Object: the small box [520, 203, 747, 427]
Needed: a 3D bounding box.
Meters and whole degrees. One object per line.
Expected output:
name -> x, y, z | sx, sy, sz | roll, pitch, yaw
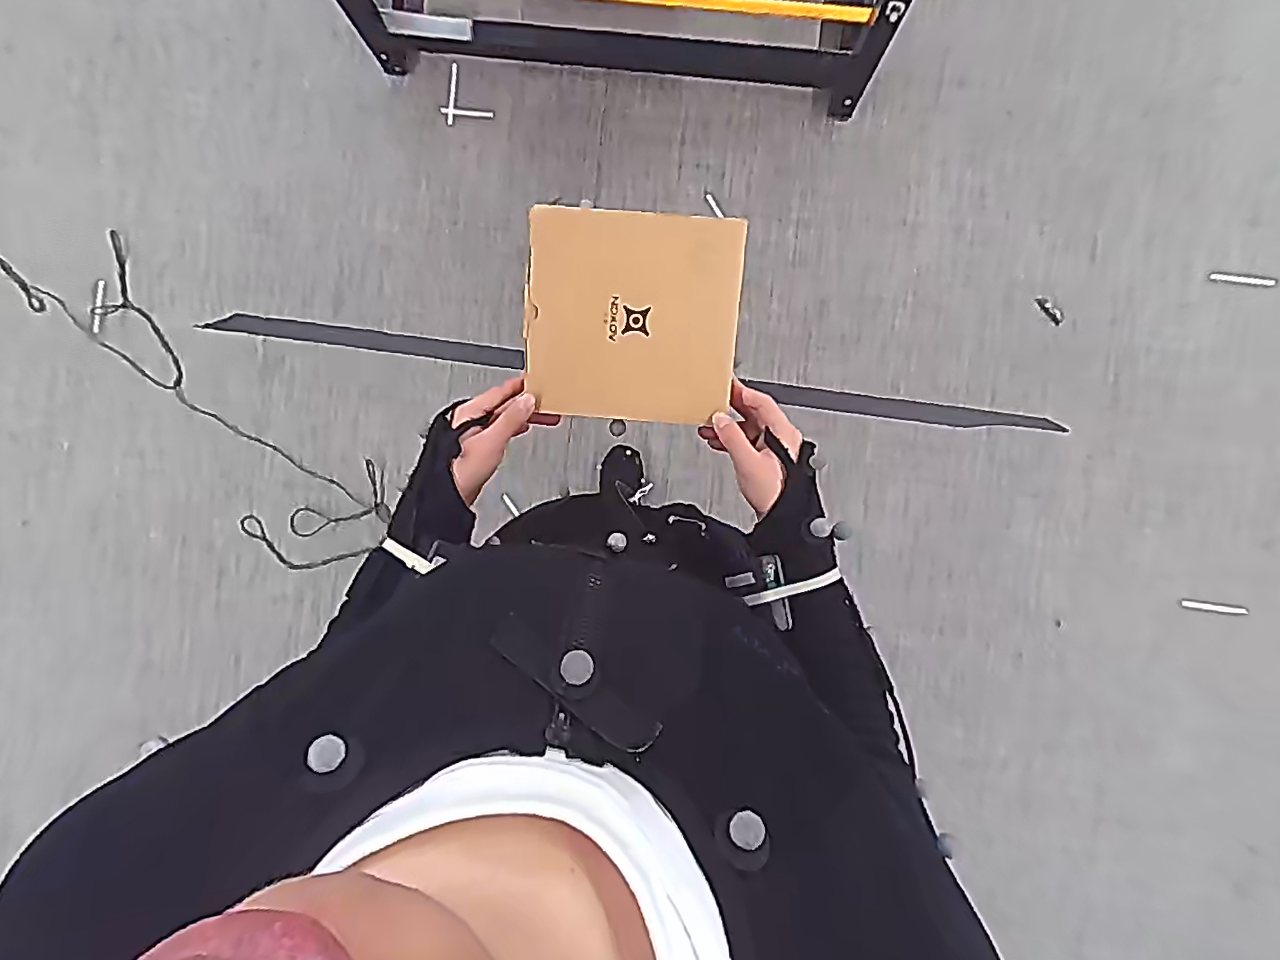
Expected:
small box -> -0.003, -0.145, 0.515 | 0.179, 0.176, 0.168 | 5, 100, 4
